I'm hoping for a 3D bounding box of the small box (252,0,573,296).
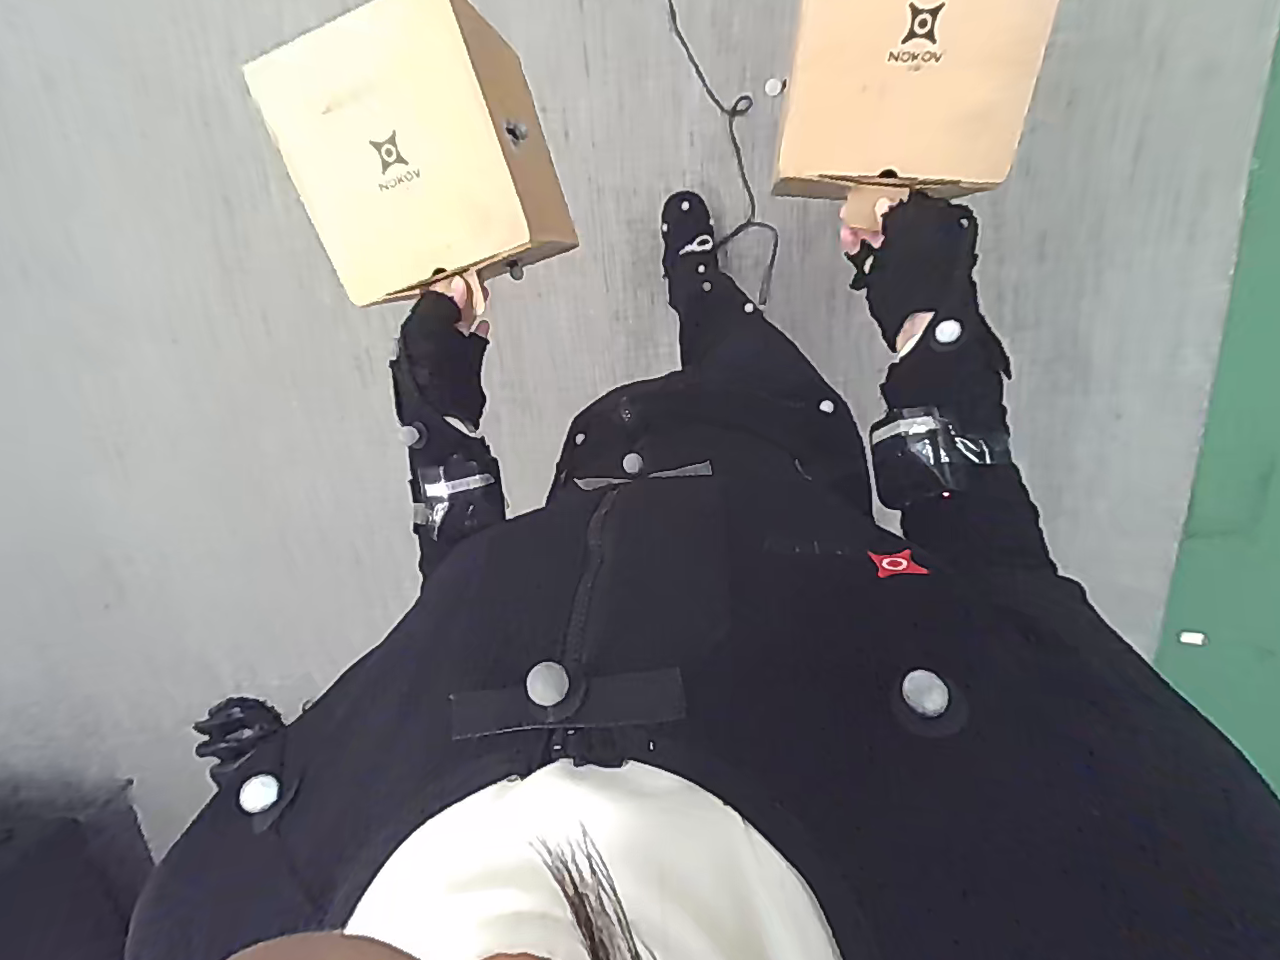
[{"bbox_3d":[-0.175,-0.281,0.481,0.168,0.176,0.179,-14,110,13],"label":"small box"}]

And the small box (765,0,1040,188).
[{"bbox_3d":[0.200,-0.348,0.449,0.168,0.176,0.179,8,115,8],"label":"small box"}]
